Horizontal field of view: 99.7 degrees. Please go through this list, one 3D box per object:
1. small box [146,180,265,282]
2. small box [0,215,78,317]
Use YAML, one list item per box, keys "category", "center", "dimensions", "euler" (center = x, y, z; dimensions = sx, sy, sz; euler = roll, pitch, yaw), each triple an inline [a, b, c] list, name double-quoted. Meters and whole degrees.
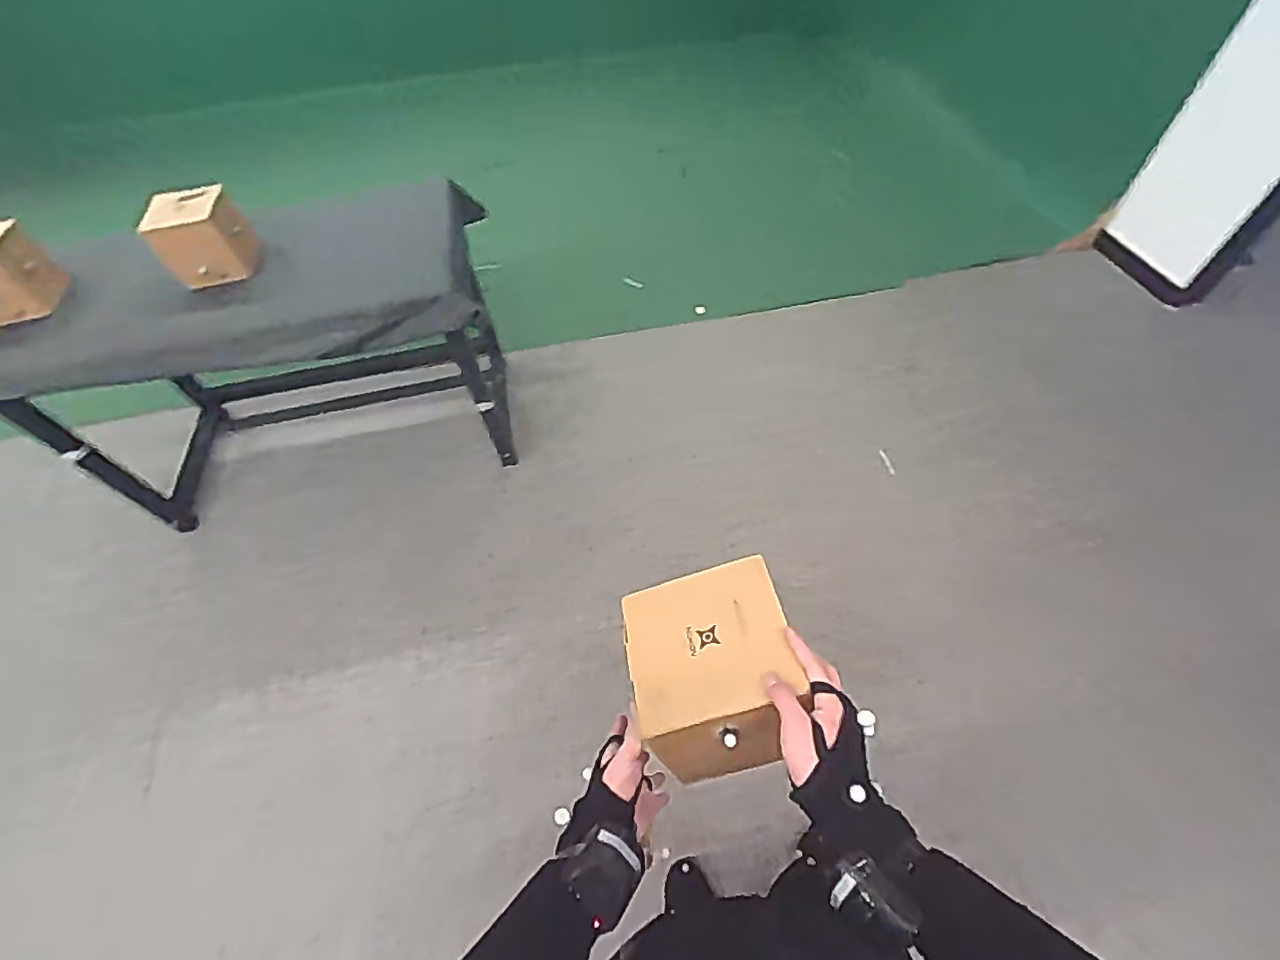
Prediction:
- category: "small box"
  center: [-1.123, -0.651, 1.417]
  dimensions: [0.168, 0.176, 0.179]
  euler: [-13, 57, -4]
- category: "small box"
  center: [-1.608, -0.537, 1.376]
  dimensions: [0.168, 0.176, 0.179]
  euler: [-15, 56, -6]
